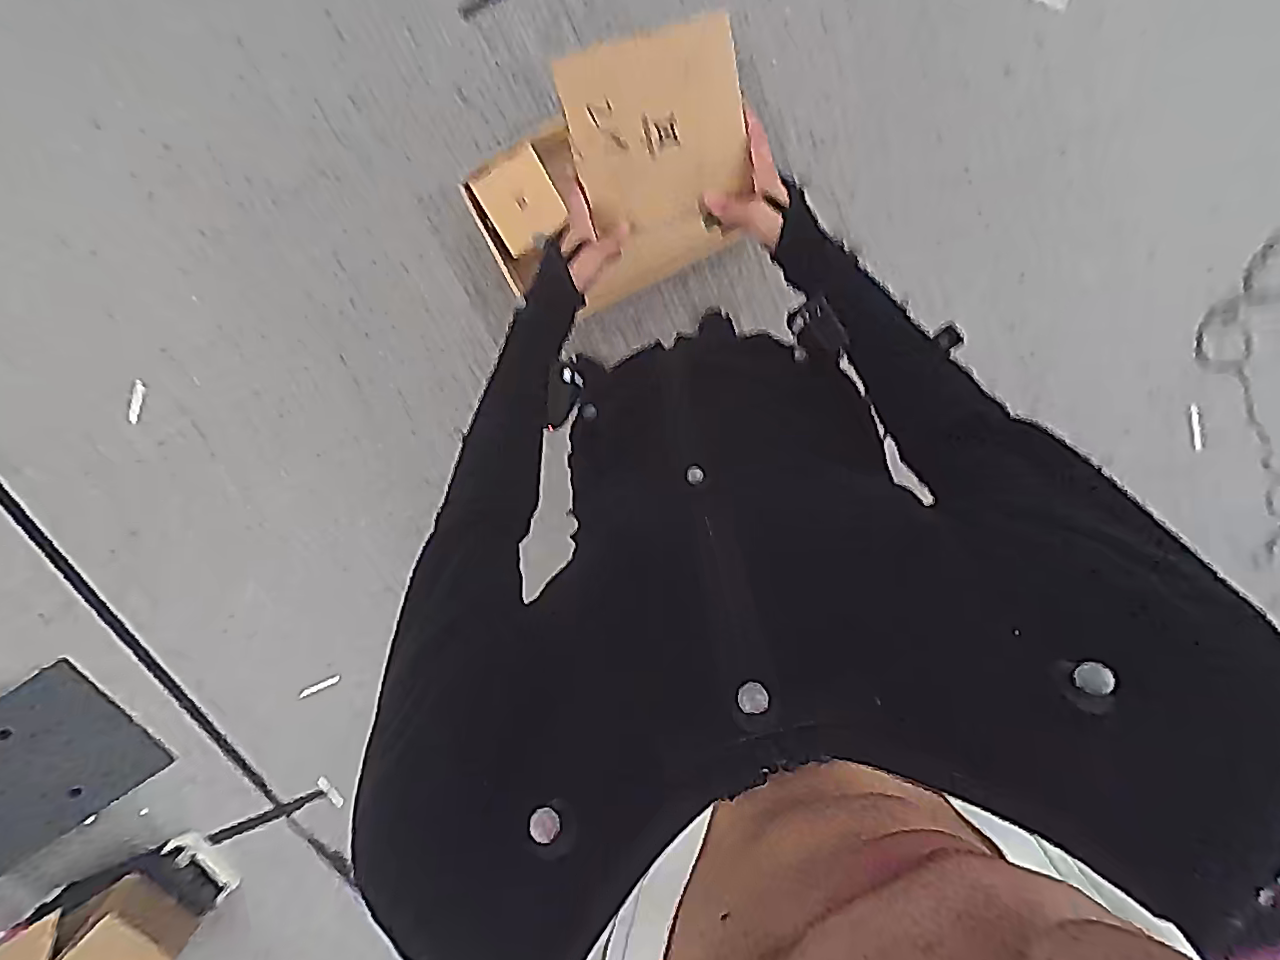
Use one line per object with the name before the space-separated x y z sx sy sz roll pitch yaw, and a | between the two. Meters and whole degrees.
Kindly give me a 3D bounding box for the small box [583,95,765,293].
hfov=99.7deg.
small box | 0.036 -0.328 0.651 0.179 0.176 0.168 -12 109 2
